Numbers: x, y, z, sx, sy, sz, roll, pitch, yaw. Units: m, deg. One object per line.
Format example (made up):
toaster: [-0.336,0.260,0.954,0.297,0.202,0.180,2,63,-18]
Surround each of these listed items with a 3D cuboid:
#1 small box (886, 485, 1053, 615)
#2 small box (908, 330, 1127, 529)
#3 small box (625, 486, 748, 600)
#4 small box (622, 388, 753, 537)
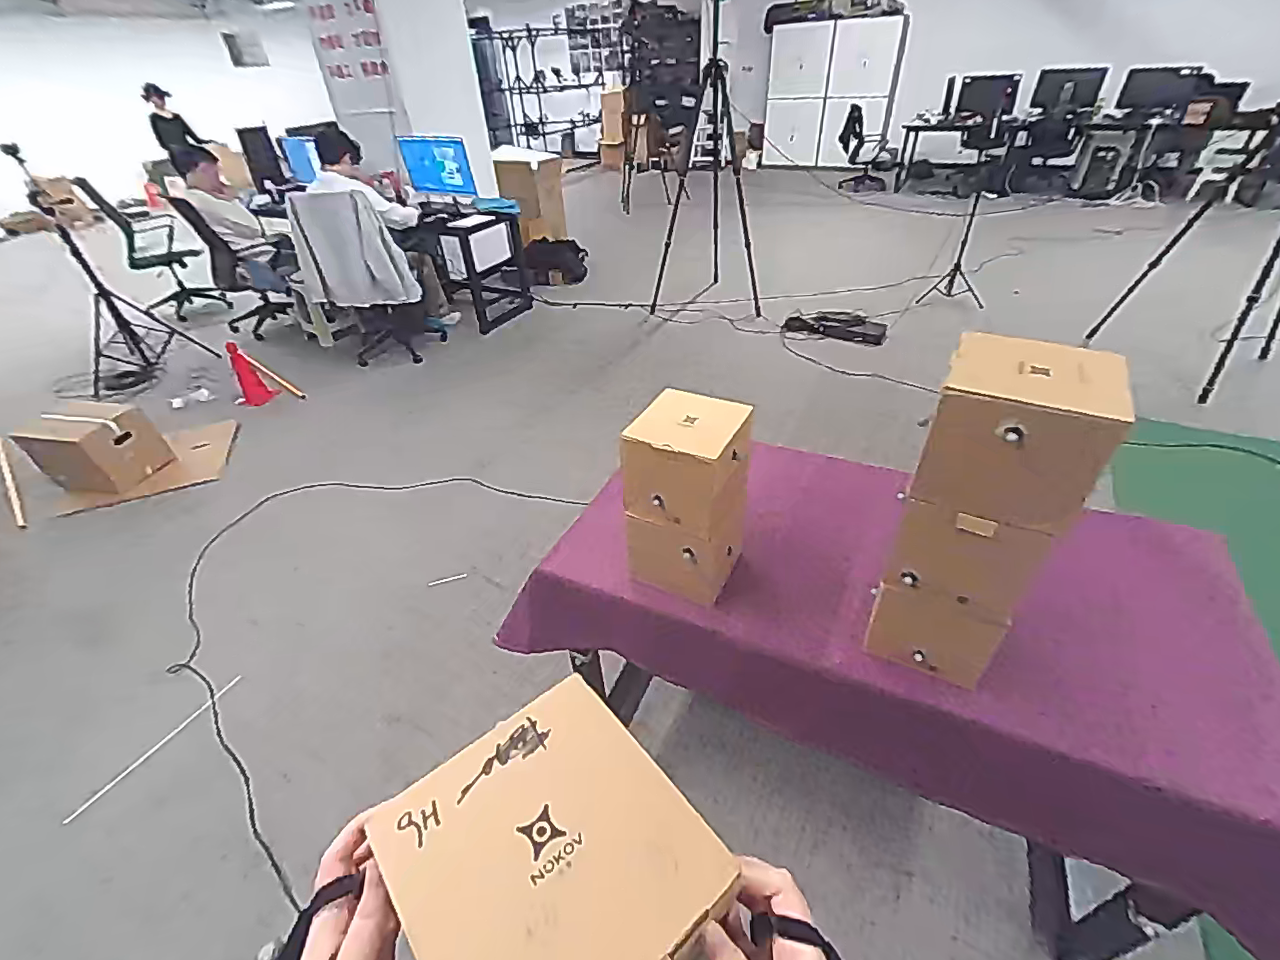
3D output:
small box: [0.465,0.060,0.773,0.168,0.176,0.179,18,42,26]
small box: [0.453,-0.065,0.668,0.179,0.176,0.168,19,45,27]
small box: [0.090,0.102,1.026,0.179,0.176,0.168,16,41,24]
small box: [0.083,-0.033,0.935,0.168,0.176,0.179,16,43,24]
